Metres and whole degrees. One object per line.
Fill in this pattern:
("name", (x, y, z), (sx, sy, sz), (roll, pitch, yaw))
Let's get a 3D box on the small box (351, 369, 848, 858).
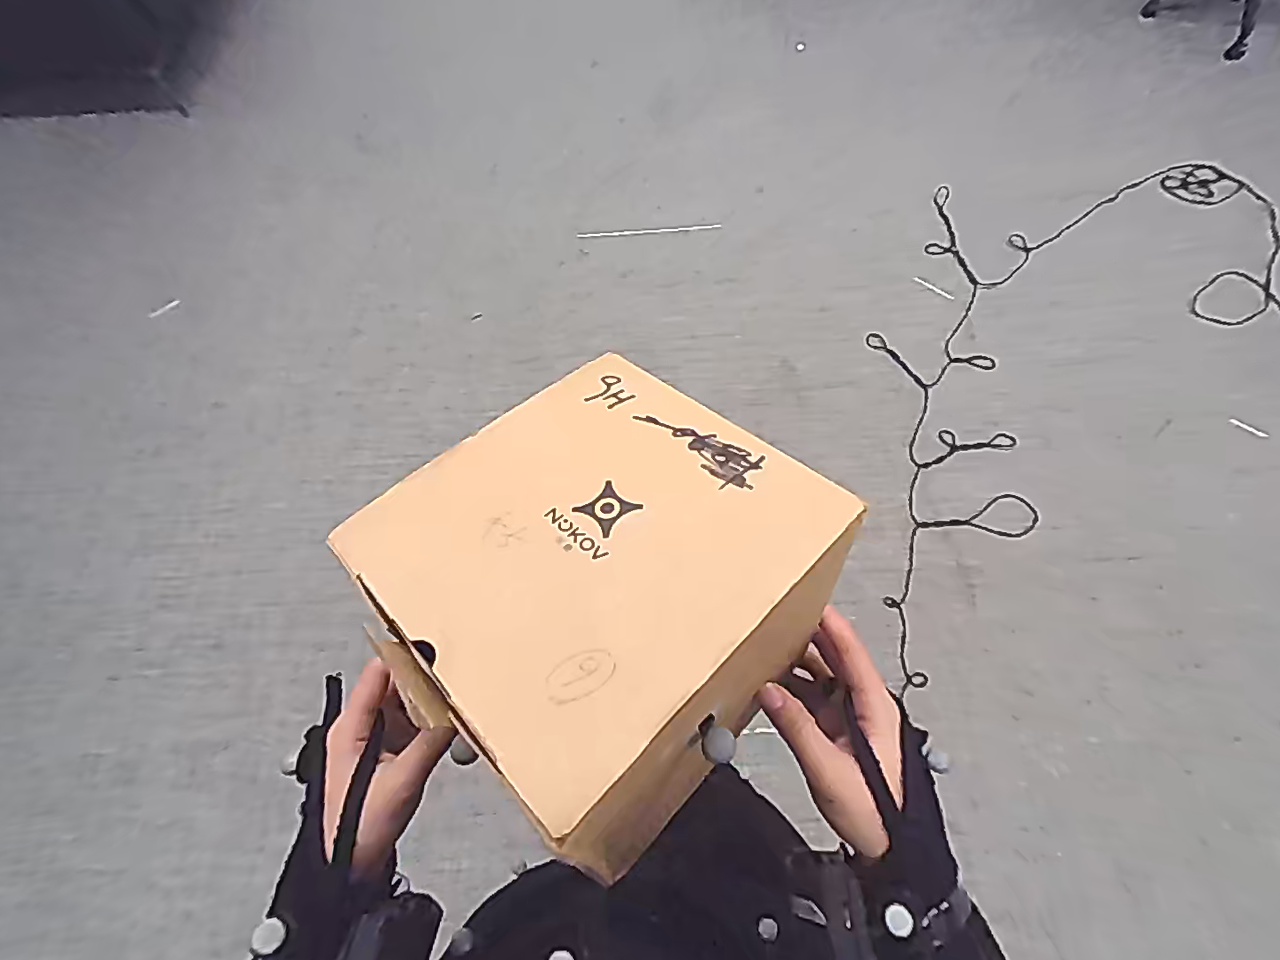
("small box", (-0.014, 0.075, 0.309), (0.168, 0.176, 0.179), (36, 62, 29))
